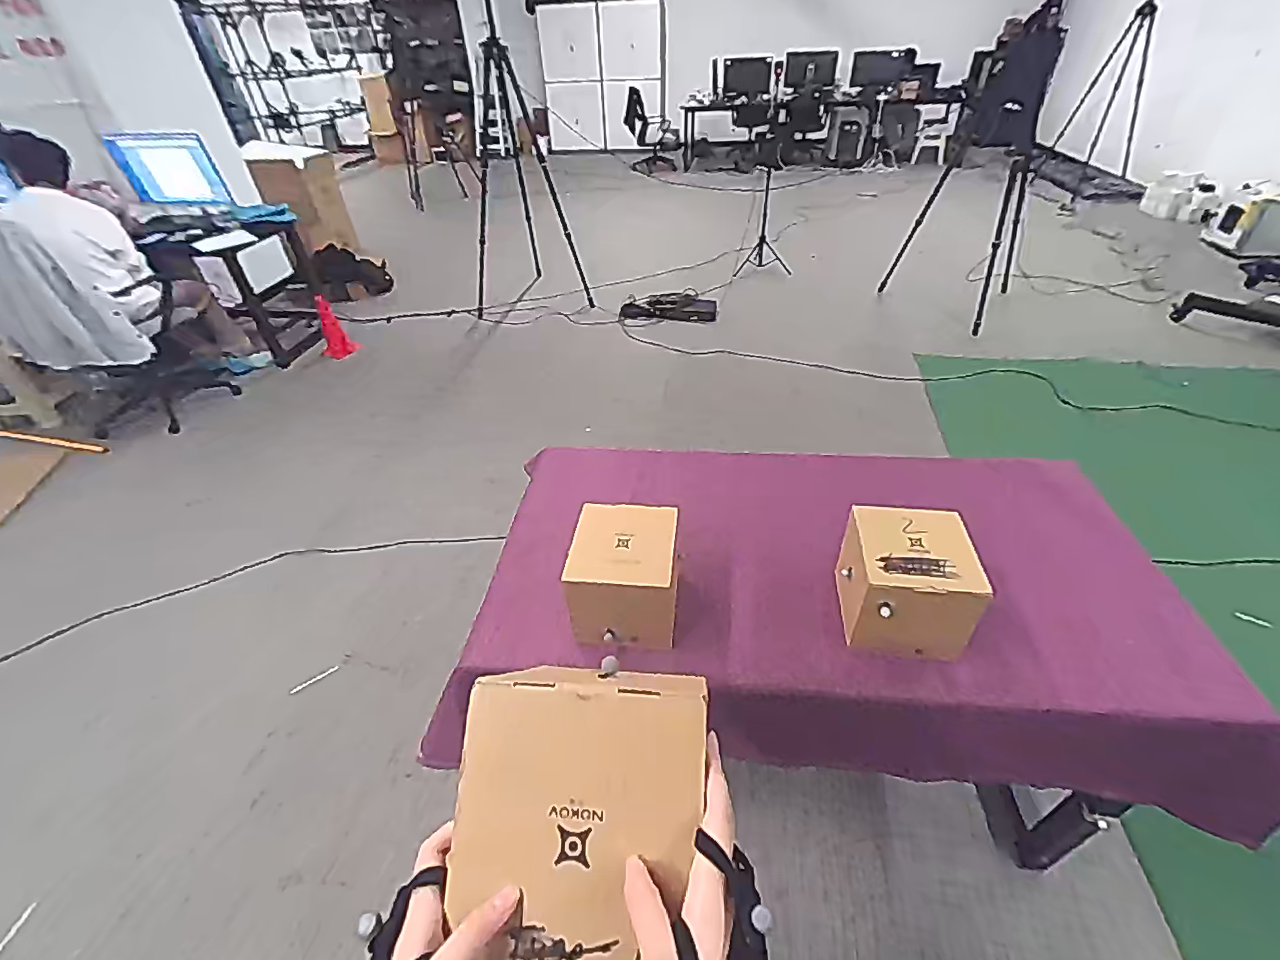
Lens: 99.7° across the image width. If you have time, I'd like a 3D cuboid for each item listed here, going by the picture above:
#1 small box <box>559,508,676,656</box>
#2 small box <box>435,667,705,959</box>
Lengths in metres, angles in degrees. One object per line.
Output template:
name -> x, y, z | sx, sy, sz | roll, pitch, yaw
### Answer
small box -> -0.027, 0.169, 0.912 | 0.168, 0.176, 0.179 | 2, 40, 8
small box -> -0.034, 0.246, 0.431 | 0.168, 0.176, 0.179 | 1, 73, 8
